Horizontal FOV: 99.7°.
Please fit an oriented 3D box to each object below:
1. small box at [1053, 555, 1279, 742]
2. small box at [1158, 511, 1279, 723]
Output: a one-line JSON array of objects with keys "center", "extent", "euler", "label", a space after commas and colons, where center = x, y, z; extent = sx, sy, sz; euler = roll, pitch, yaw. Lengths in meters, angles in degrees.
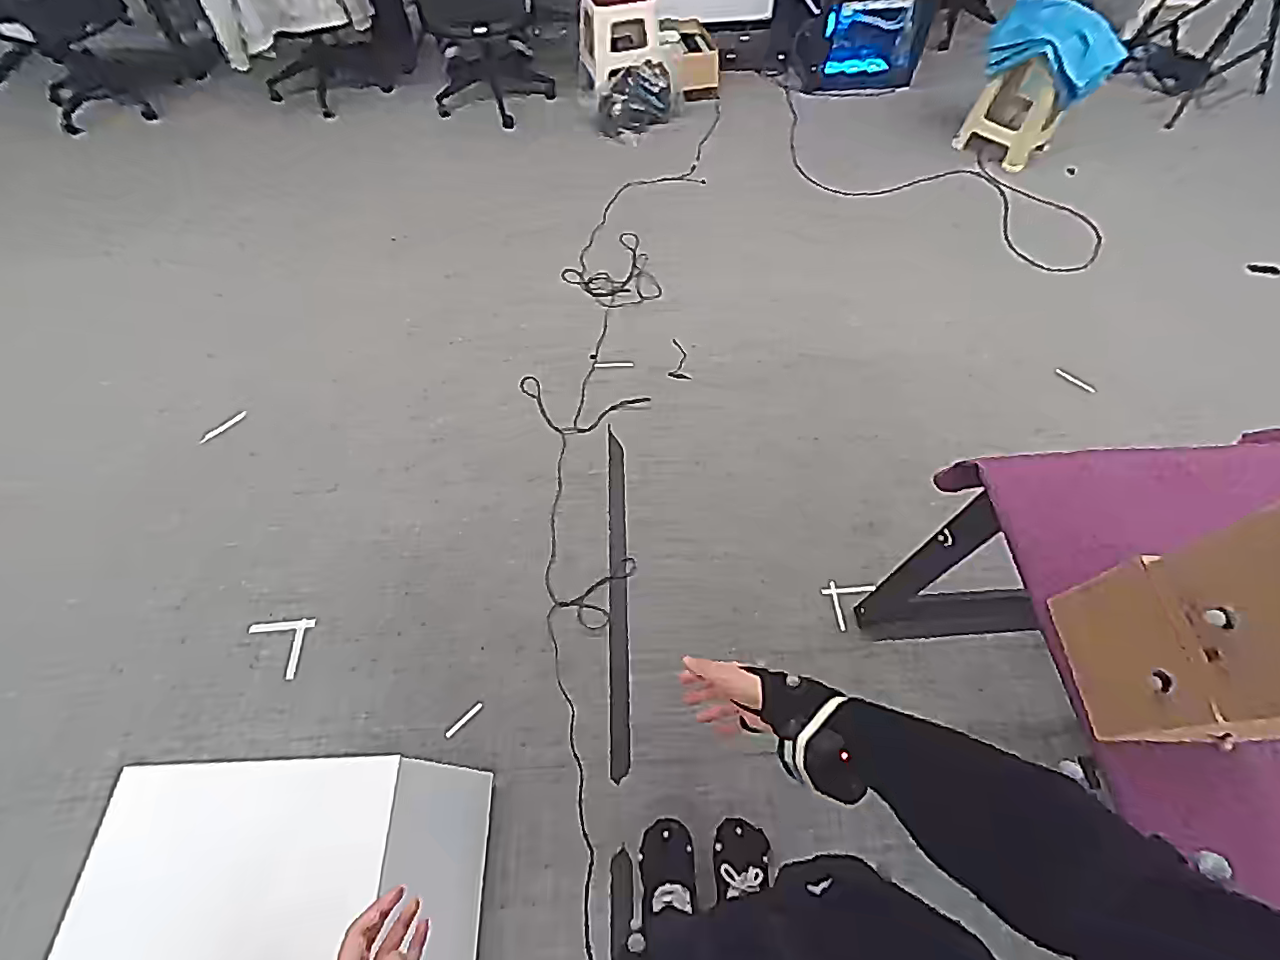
[{"center": [0.633, 0.199, 0.622], "extent": [0.168, 0.176, 0.179], "euler": [1, 59, 1], "label": "small box"}, {"center": [0.641, 0.119, 0.478], "extent": [0.179, 0.176, 0.168], "euler": [-1, 60, 2], "label": "small box"}]
